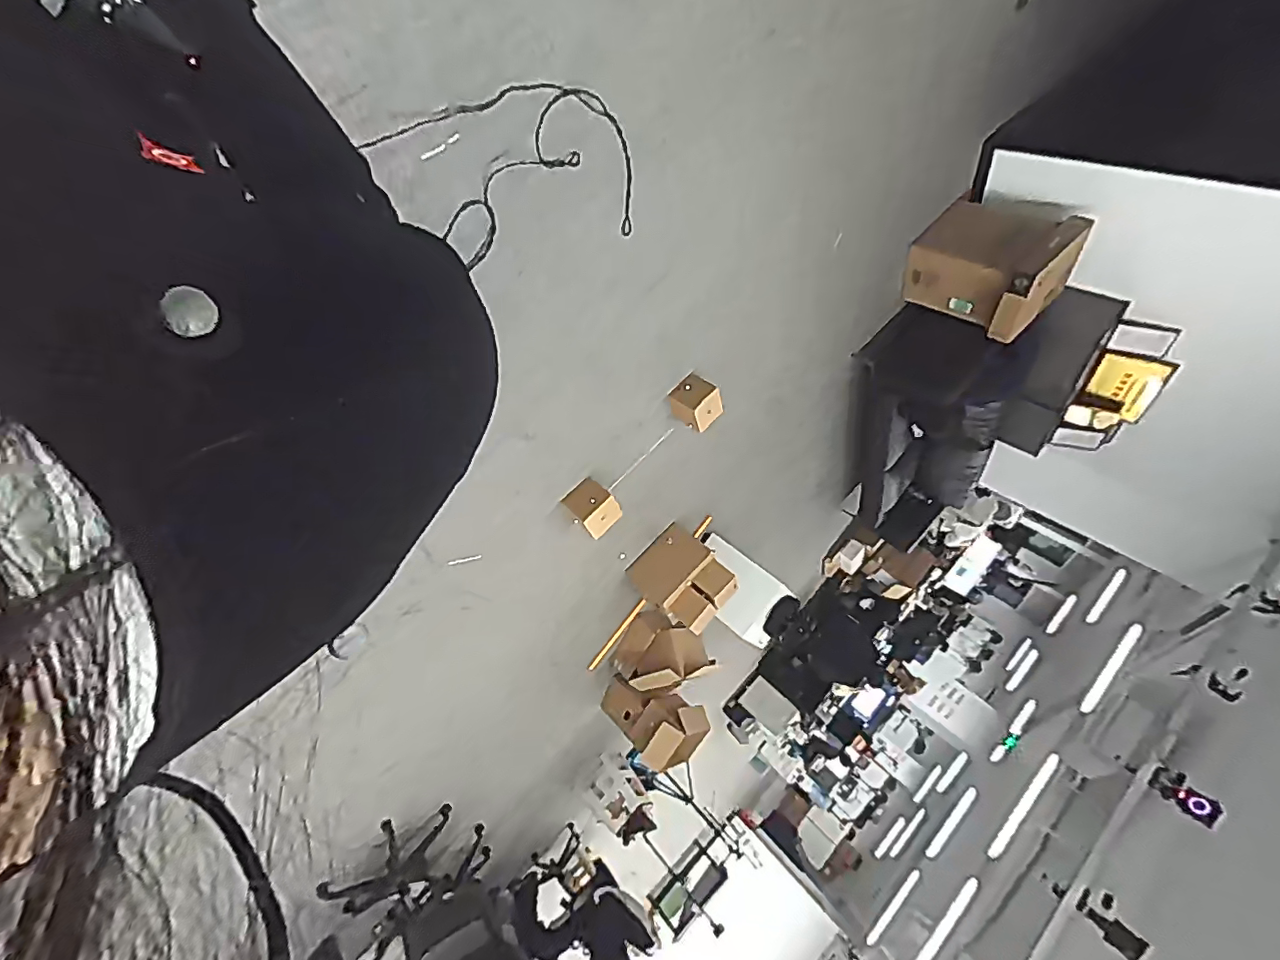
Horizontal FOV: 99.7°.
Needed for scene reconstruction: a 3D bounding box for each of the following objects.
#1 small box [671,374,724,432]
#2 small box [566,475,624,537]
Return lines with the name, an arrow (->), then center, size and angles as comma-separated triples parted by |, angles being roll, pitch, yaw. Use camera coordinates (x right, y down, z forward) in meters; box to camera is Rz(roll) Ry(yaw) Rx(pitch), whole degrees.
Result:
small box -> 0.268, -0.365, 2.522 | 0.168, 0.176, 0.179 | -45, 145, -13
small box -> -0.204, 0.112, 2.382 | 0.179, 0.176, 0.168 | -45, 145, -13
